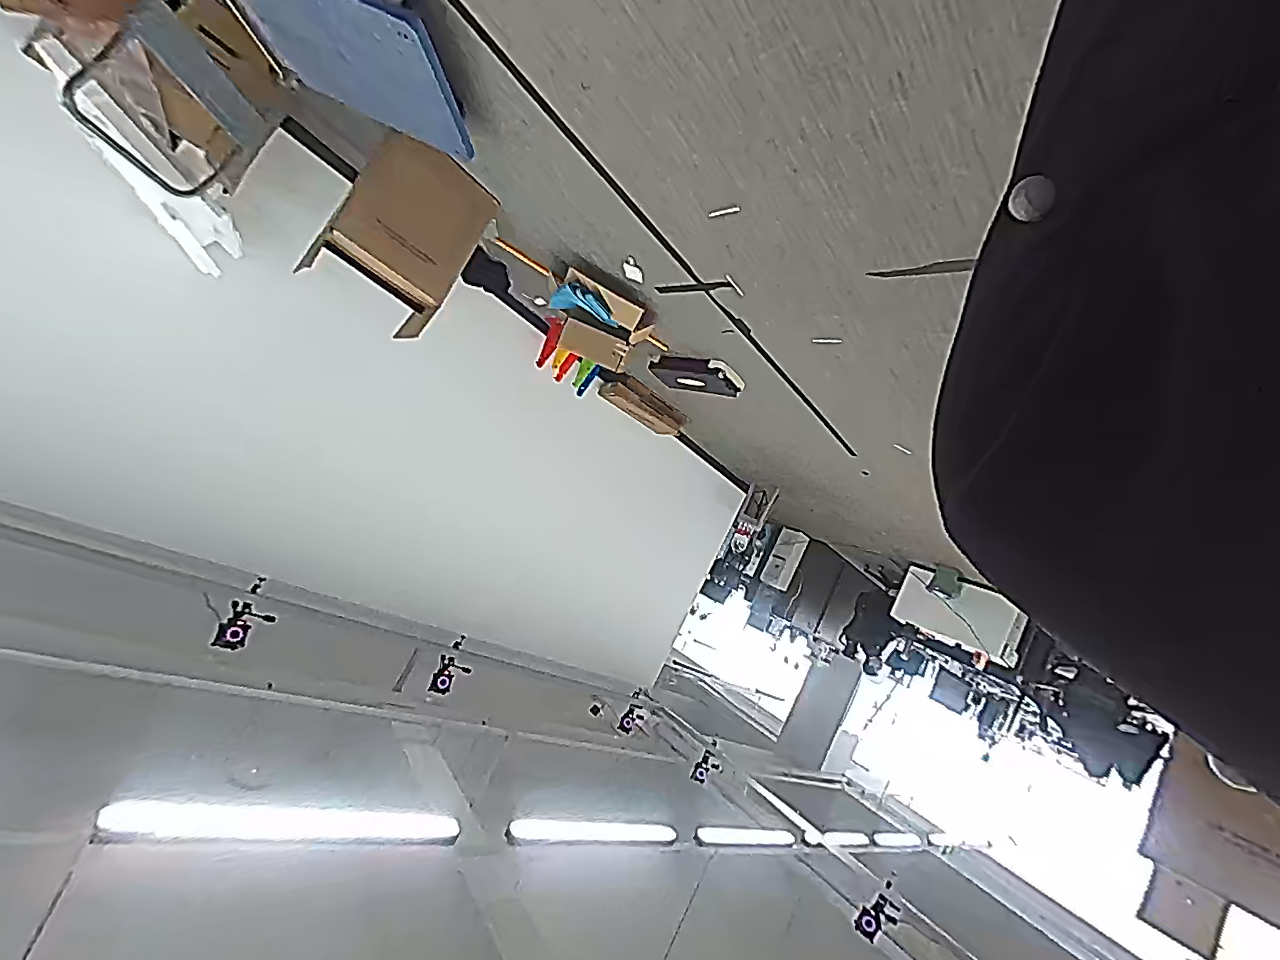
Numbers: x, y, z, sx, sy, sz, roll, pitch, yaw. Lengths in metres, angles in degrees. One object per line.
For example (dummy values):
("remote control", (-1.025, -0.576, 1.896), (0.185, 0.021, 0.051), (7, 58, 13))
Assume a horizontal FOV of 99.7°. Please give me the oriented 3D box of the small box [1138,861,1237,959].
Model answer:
("small box", (1.567, 1.229, 1.549), (0.179, 0.176, 0.168), (34, 169, -39))
